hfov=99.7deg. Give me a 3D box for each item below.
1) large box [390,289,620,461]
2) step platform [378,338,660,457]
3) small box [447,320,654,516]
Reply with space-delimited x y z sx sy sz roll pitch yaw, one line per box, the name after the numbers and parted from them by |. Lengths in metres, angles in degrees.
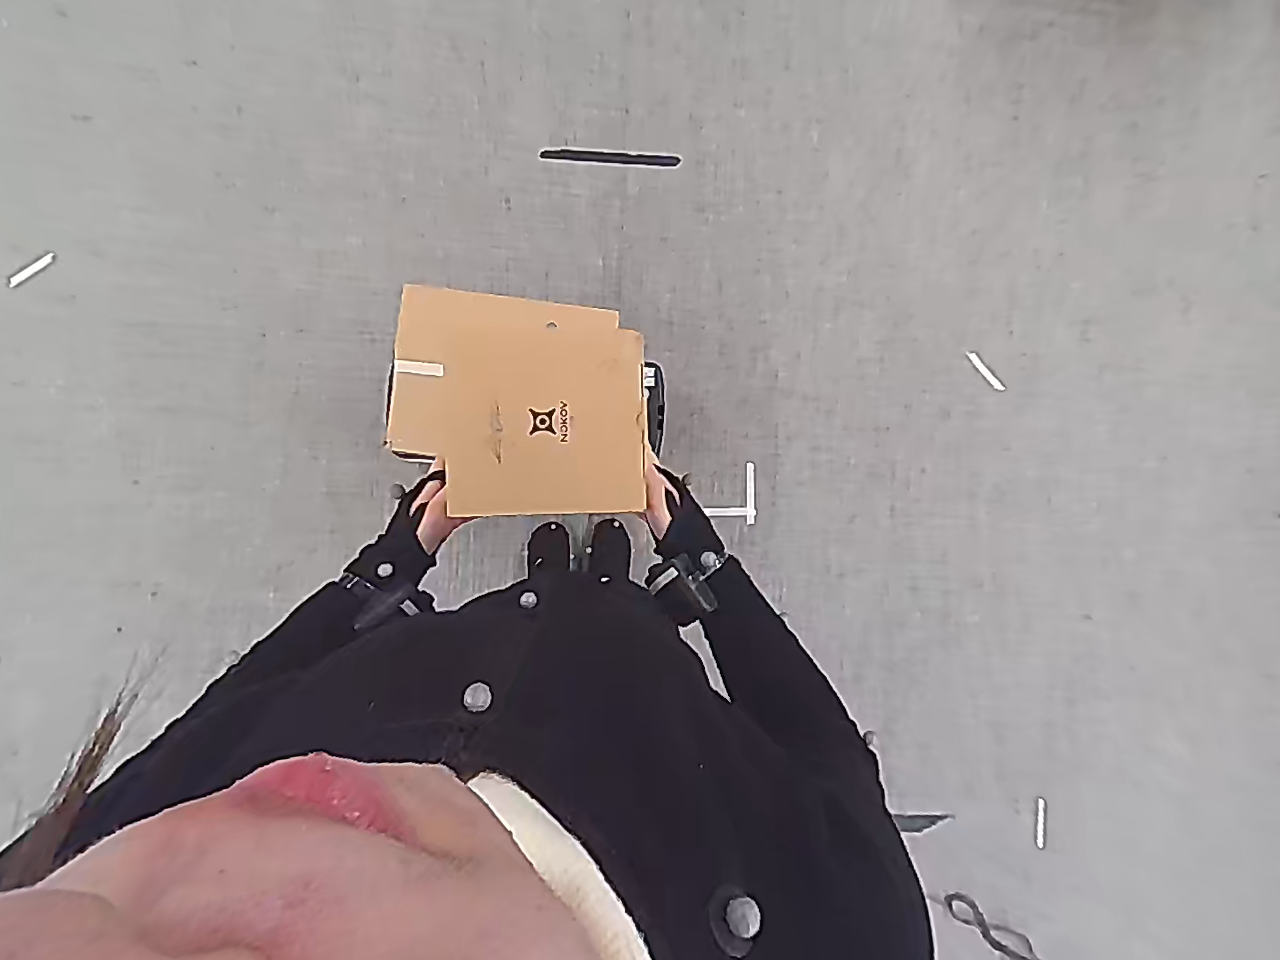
-0.253 -0.181 1.146 0.408 0.320 0.320 6 88 -3 | large box
-0.292 -0.166 1.383 0.684 0.204 0.286 8 88 -3 | step platform
-0.086 -0.053 0.541 0.179 0.176 0.168 -1 90 -7 | small box
